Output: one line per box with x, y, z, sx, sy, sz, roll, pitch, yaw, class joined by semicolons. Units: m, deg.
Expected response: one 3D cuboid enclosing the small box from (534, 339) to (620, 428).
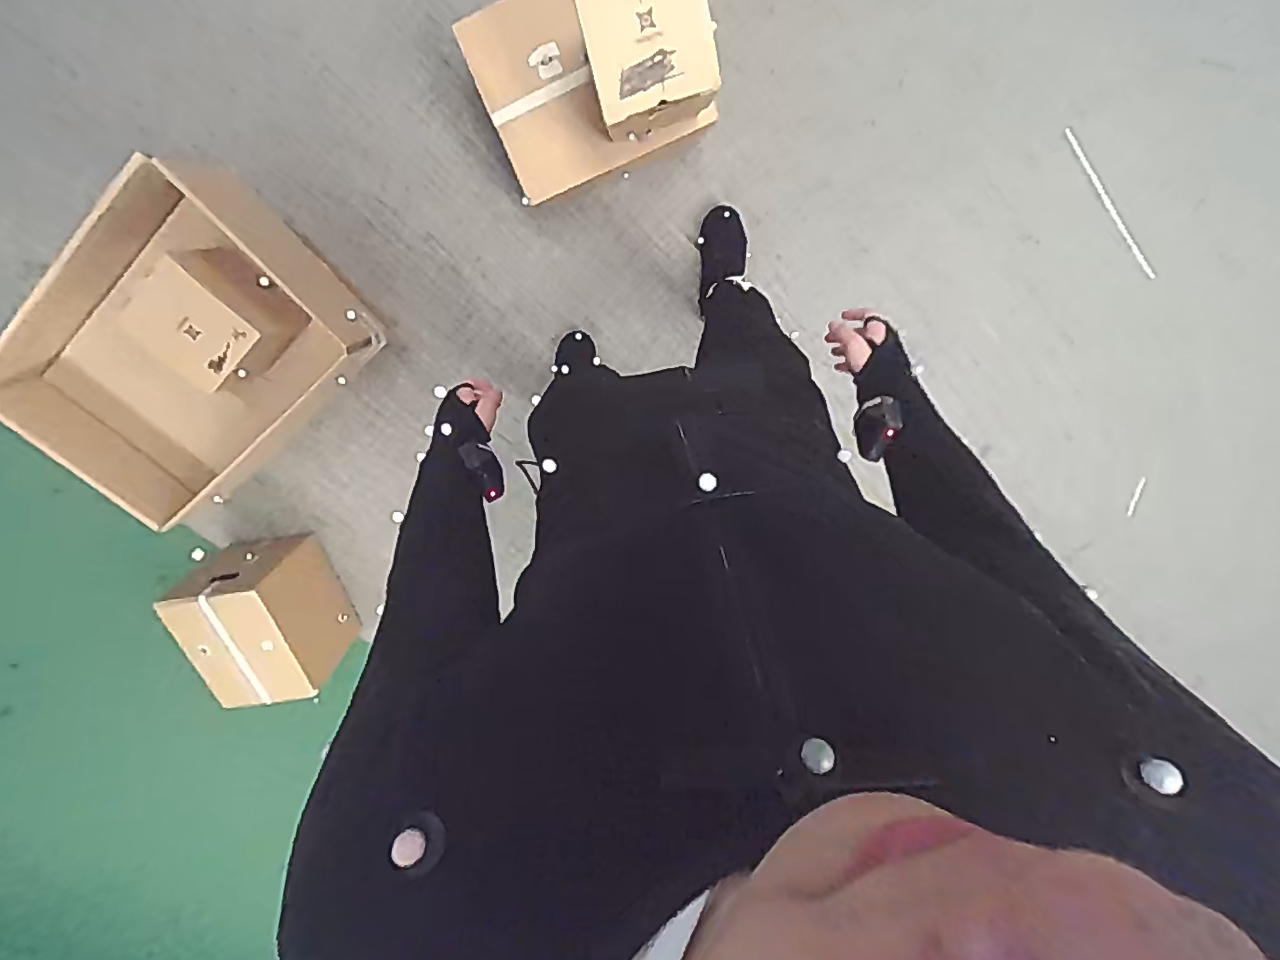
-0.167;-0.266;1.490;0.168;0.176;0.179;32;100;-5;small box

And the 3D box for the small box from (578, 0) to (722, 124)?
0.013;-0.622;0.759;0.168;0.176;0.179;-13;117;6;small box

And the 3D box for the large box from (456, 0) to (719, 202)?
-0.089;-0.818;1.116;0.408;0.320;0.320;-19;115;10;large box

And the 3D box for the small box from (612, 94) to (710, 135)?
0.012;-0.704;0.902;0.168;0.176;0.179;-14;118;7;small box
